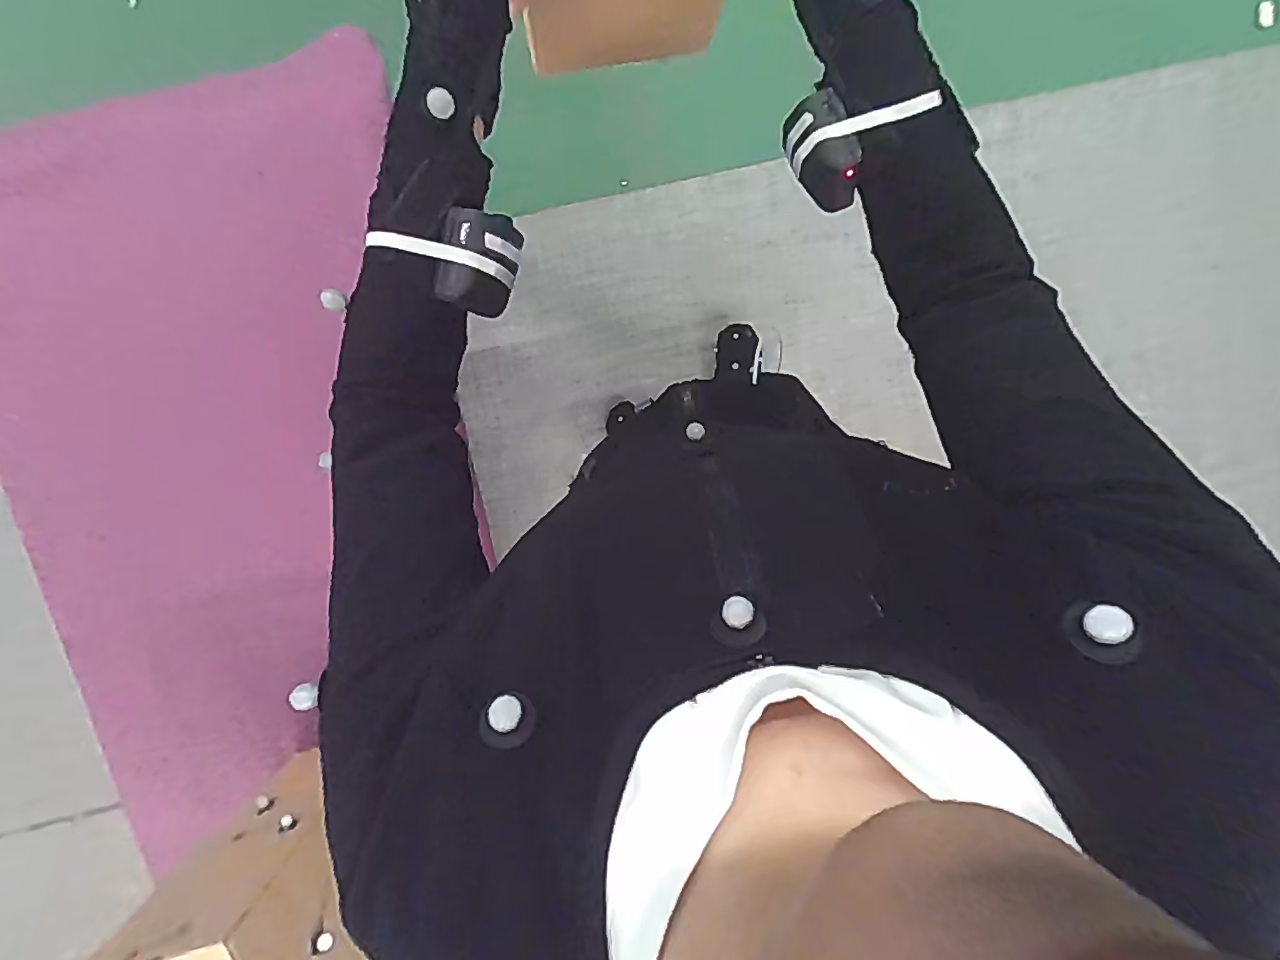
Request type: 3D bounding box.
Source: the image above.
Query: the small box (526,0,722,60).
[{"bbox_3d":[-0.018,-0.472,0.426,0.179,0.176,0.168,-11,102,-4],"label":"small box"}]
